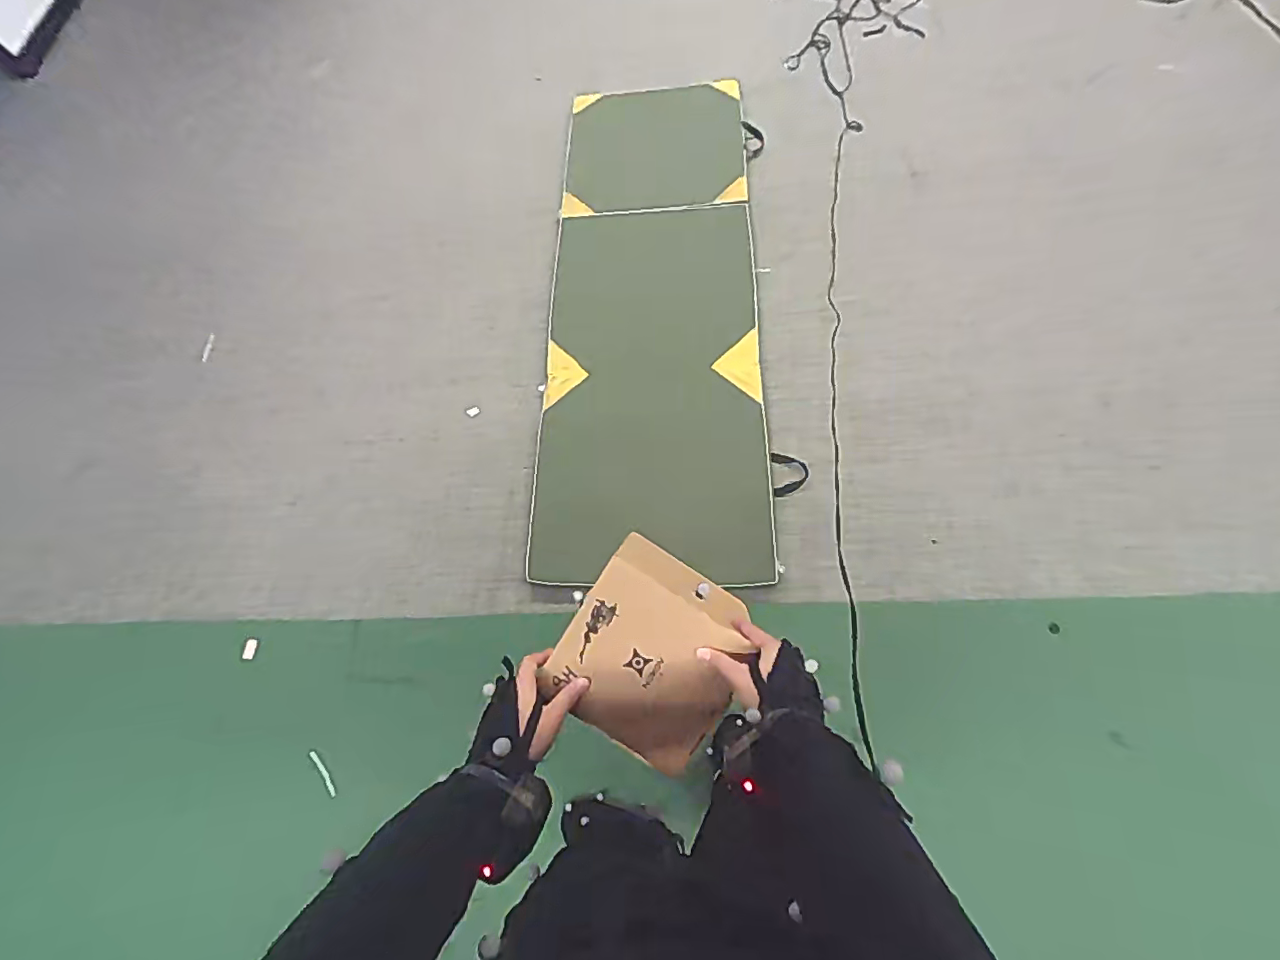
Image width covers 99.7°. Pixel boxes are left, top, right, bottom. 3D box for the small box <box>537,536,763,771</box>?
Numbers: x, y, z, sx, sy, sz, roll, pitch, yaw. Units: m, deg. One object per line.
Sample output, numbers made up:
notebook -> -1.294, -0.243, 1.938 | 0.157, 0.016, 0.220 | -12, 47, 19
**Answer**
small box -> 0.014, 0.181, 0.625 | 0.179, 0.176, 0.168 | 33, 94, 2
